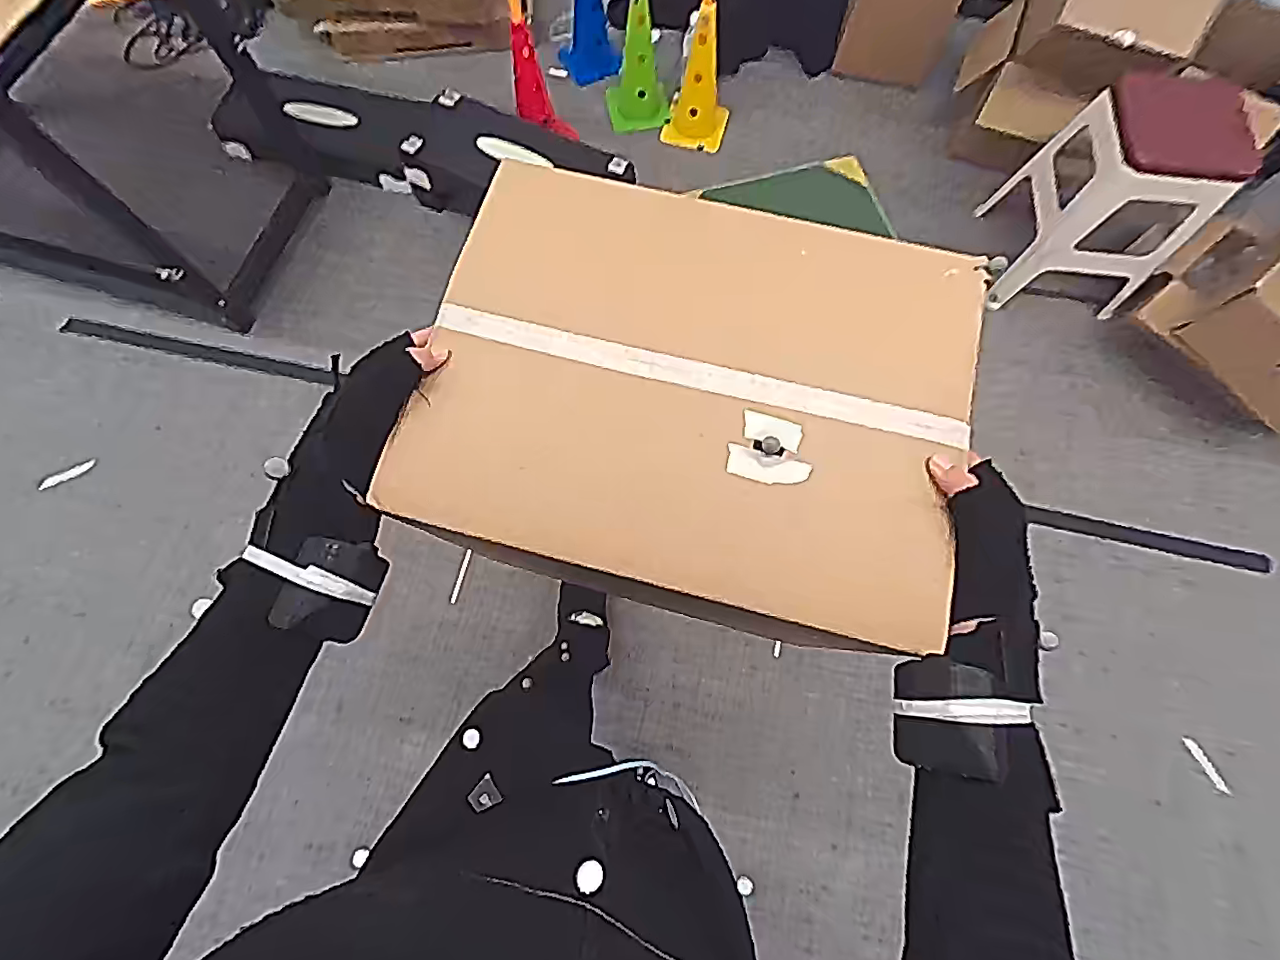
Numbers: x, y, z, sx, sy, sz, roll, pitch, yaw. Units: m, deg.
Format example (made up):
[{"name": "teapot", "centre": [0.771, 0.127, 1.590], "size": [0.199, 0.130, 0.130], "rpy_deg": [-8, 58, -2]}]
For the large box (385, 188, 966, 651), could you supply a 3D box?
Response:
[{"name": "large box", "centre": [0.039, -0.030, 0.561], "size": [0.408, 0.320, 0.320], "rpy_deg": [14, 76, 4]}]
